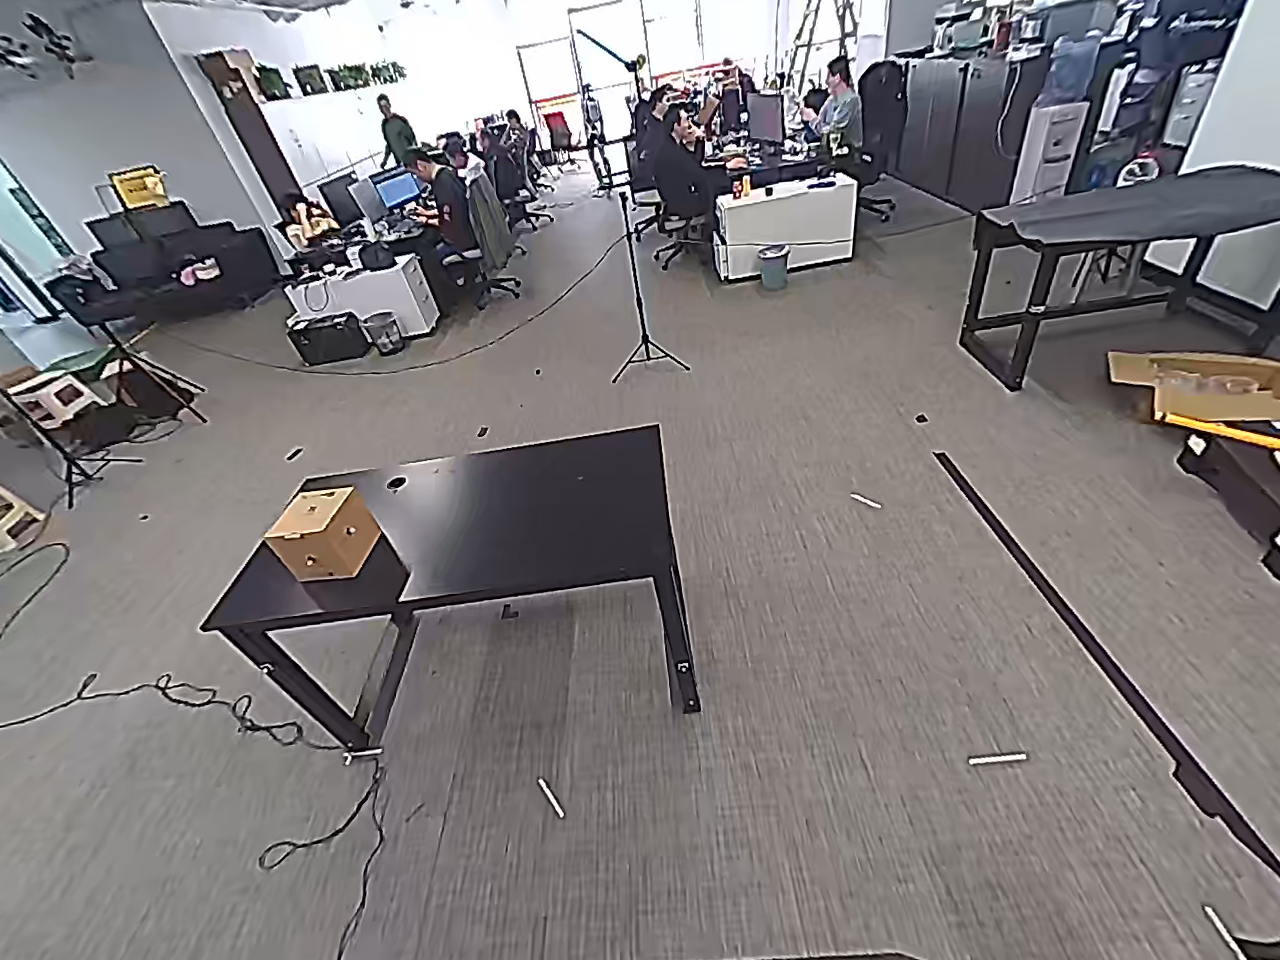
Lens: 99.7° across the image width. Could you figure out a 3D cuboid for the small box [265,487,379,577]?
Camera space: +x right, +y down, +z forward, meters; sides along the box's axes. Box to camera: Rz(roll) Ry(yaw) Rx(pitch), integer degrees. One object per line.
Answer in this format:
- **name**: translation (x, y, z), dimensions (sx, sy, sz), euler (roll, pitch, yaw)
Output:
- **small box**: translation (-0.827, 0.143, 1.431), dimensions (0.168, 0.176, 0.179), euler (-6, 39, 8)
